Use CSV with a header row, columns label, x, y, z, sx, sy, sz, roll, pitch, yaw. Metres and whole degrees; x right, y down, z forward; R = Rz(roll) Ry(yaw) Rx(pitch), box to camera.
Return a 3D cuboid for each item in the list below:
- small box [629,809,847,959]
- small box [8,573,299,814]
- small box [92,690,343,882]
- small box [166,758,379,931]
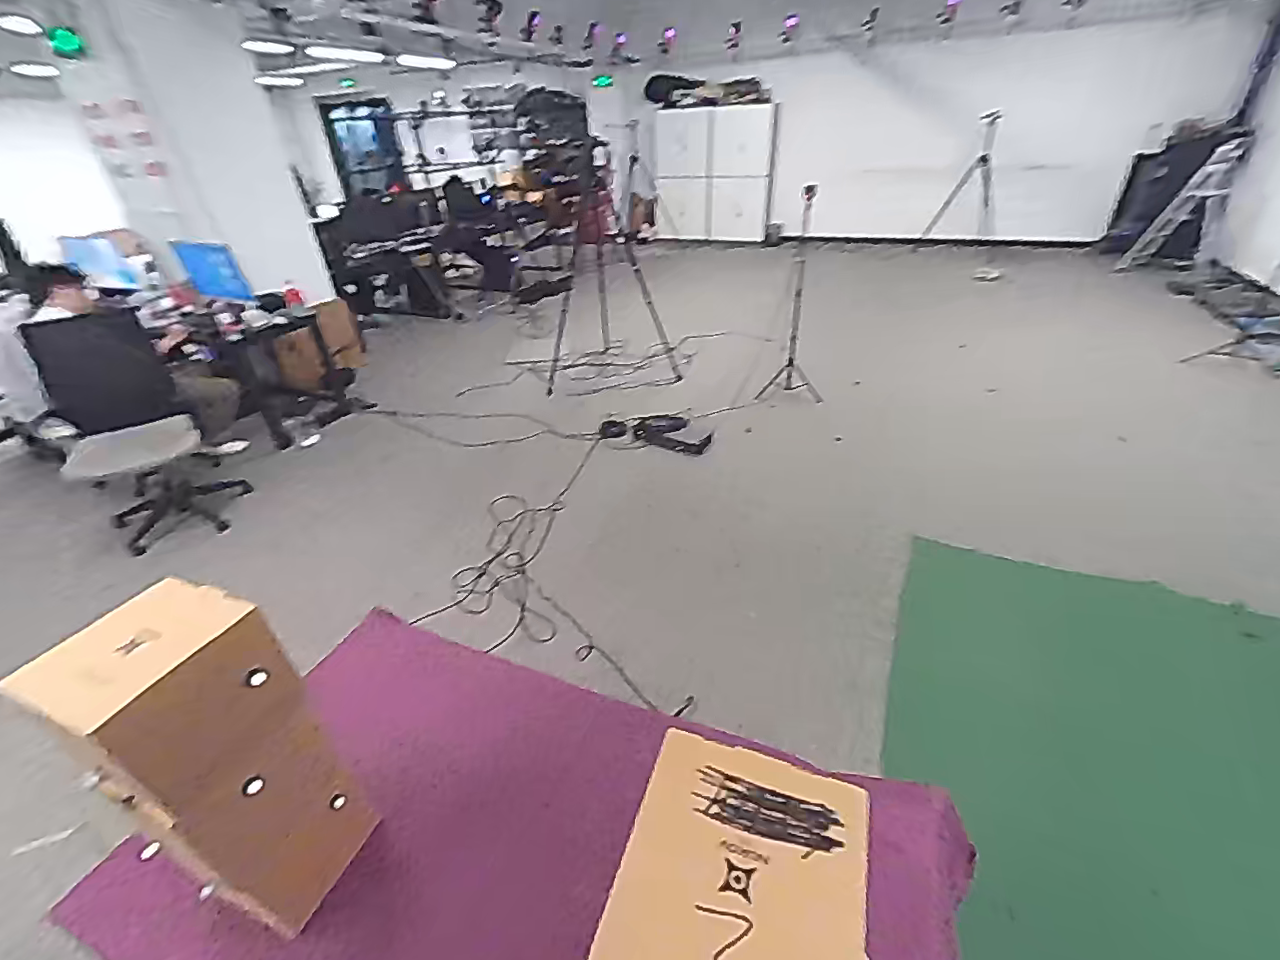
label,x,y,z,sx,sy,sz,roll,pitch,yaw
small box,0.091,0.471,0.516,0.168,0.176,0.179,11,34,22
small box,-0.543,0.243,0.637,0.168,0.176,0.179,10,35,21
small box,-0.540,0.384,0.720,0.168,0.176,0.179,10,34,20
small box,-0.531,0.521,0.810,0.168,0.176,0.179,9,35,19
